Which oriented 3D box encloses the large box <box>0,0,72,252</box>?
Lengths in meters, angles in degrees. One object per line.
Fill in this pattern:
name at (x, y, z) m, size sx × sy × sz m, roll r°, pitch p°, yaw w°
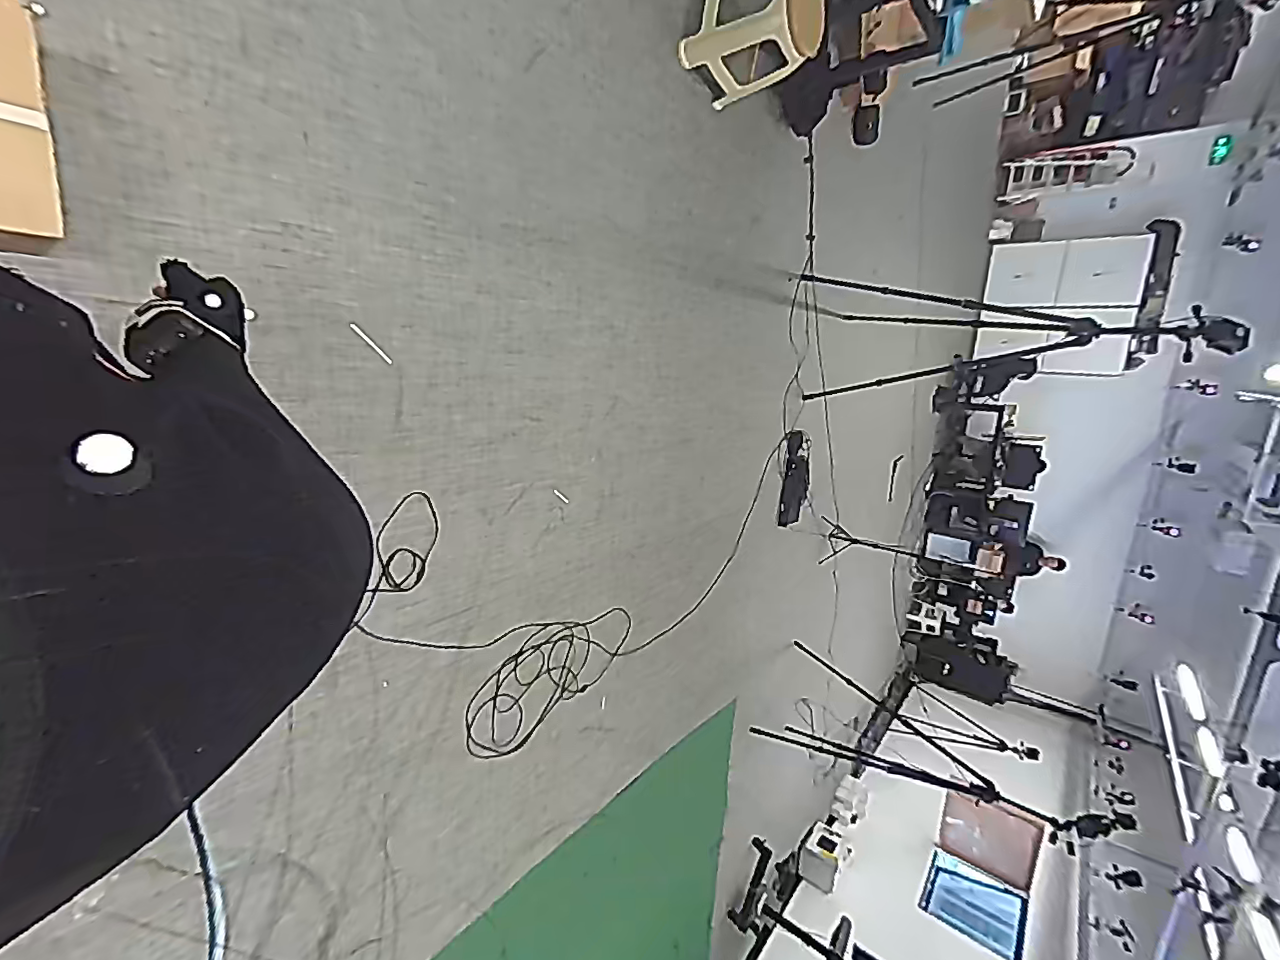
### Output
large box at (-1.090, -0.516, 0.723) m, size 0.408 × 0.320 × 0.320 m, roll -11°, pitch 108°, yaw -50°
